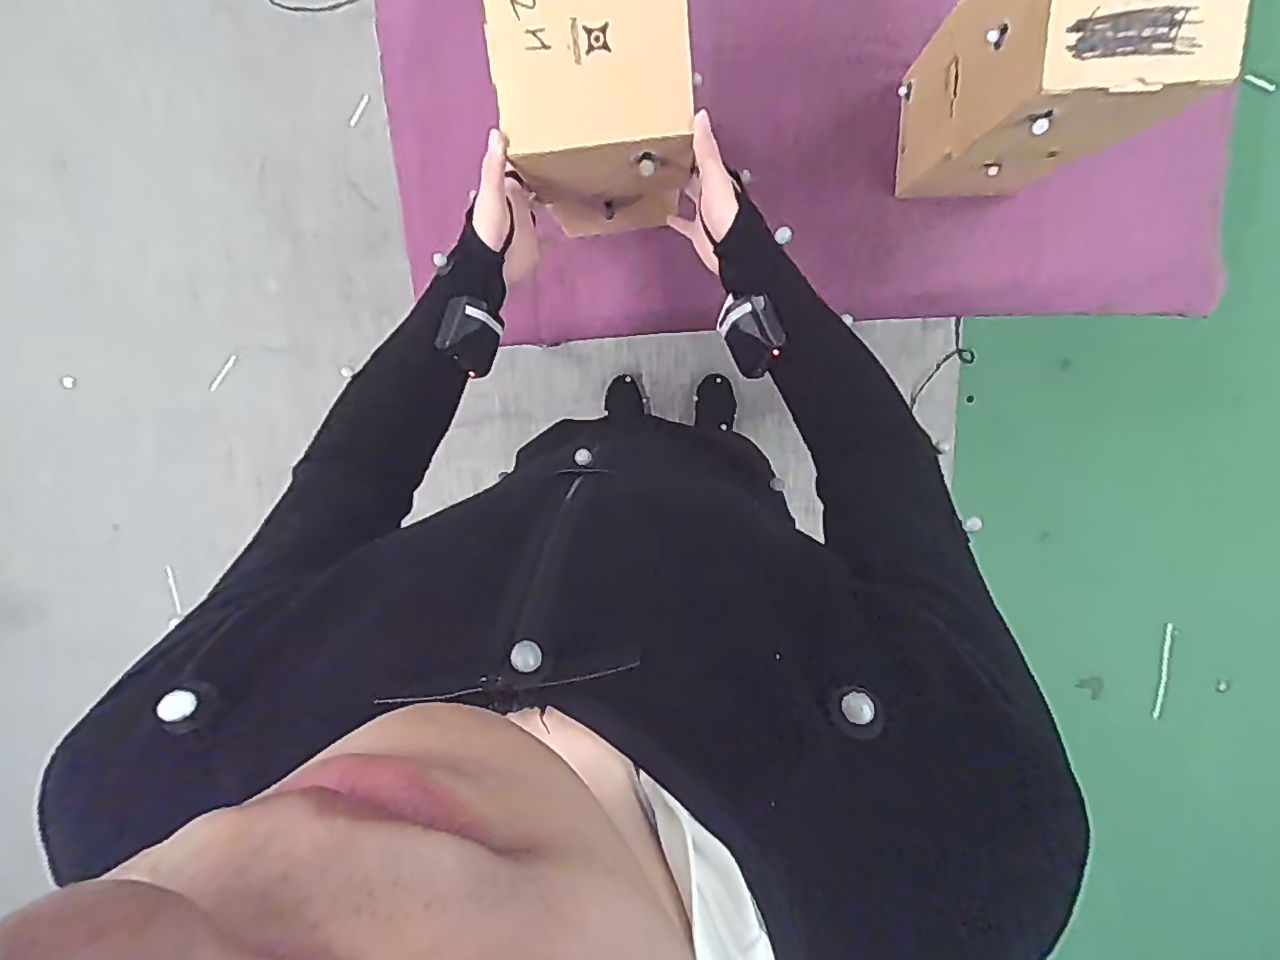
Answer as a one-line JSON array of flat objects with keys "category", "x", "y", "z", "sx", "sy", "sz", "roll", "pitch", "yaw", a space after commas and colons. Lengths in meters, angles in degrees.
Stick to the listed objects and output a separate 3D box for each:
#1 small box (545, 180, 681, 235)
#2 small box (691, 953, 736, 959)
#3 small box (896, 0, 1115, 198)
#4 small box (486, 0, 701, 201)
[{"category": "small box", "x": -0.037, "y": -0.453, "z": 0.749, "sx": 0.179, "sy": 0.176, "sz": 0.168, "roll": -4, "pitch": 100, "yaw": 5}, {"category": "small box", "x": 0.251, "y": 1.784, "z": 1.860, "sx": 0.179, "sy": 0.176, "sz": 0.168, "roll": 7, "pitch": 101, "yaw": 3}, {"category": "small box", "x": 0.459, "y": -0.485, "z": 0.710, "sx": 0.179, "sy": 0.176, "sz": 0.168, "roll": 0, "pitch": 100, "yaw": 3}, {"category": "small box", "x": -0.037, "y": -0.392, "z": 0.536, "sx": 0.179, "sy": 0.176, "sz": 0.168, "roll": -5, "pitch": 104, "yaw": 4}]
